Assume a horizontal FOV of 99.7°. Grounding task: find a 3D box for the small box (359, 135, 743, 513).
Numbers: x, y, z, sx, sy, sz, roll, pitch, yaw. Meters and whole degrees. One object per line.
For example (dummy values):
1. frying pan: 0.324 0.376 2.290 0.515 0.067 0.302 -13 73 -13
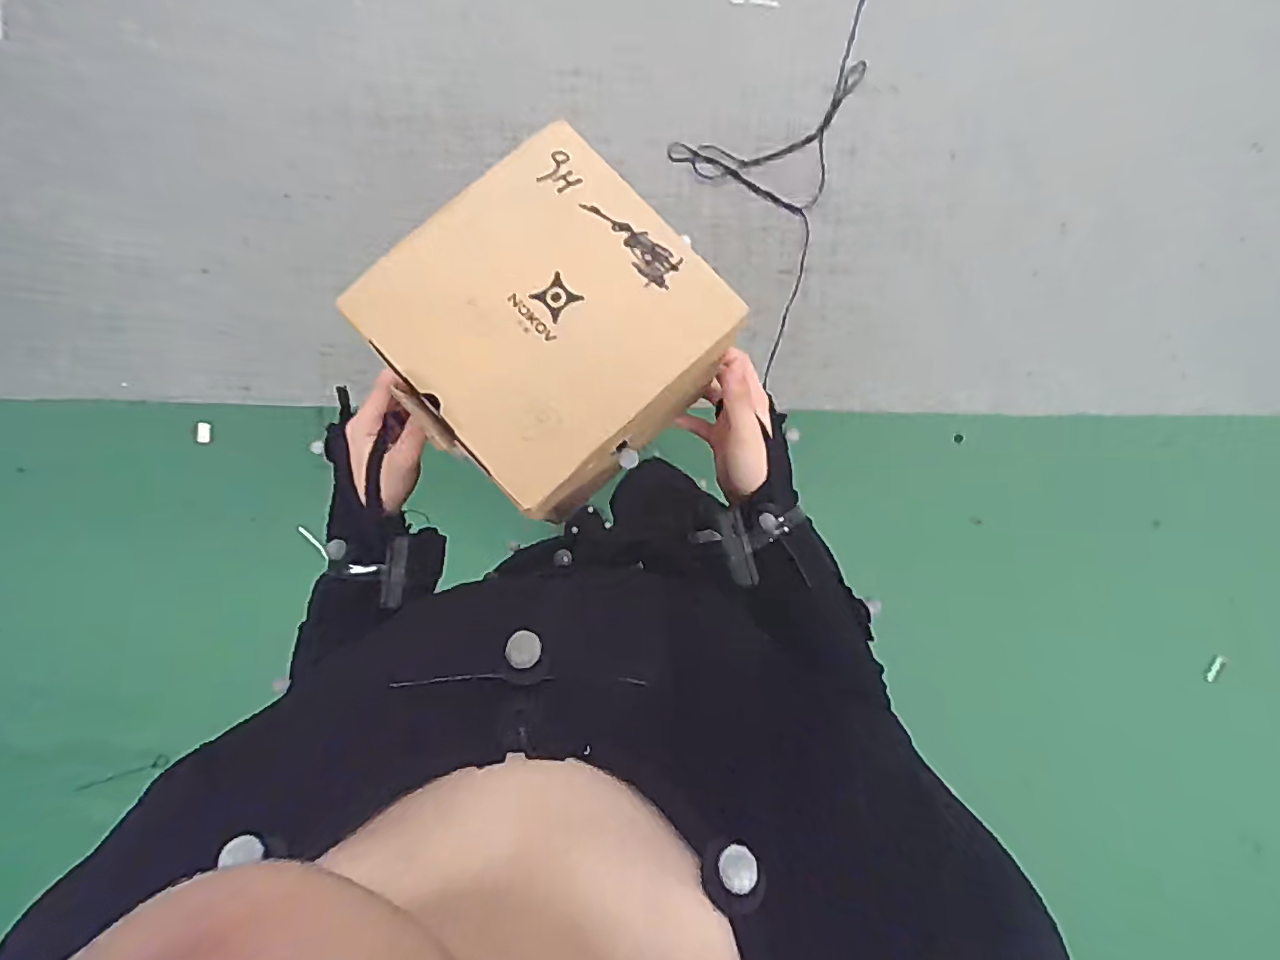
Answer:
1. small box: -0.053 -0.090 0.401 0.179 0.176 0.168 -44 86 -6
